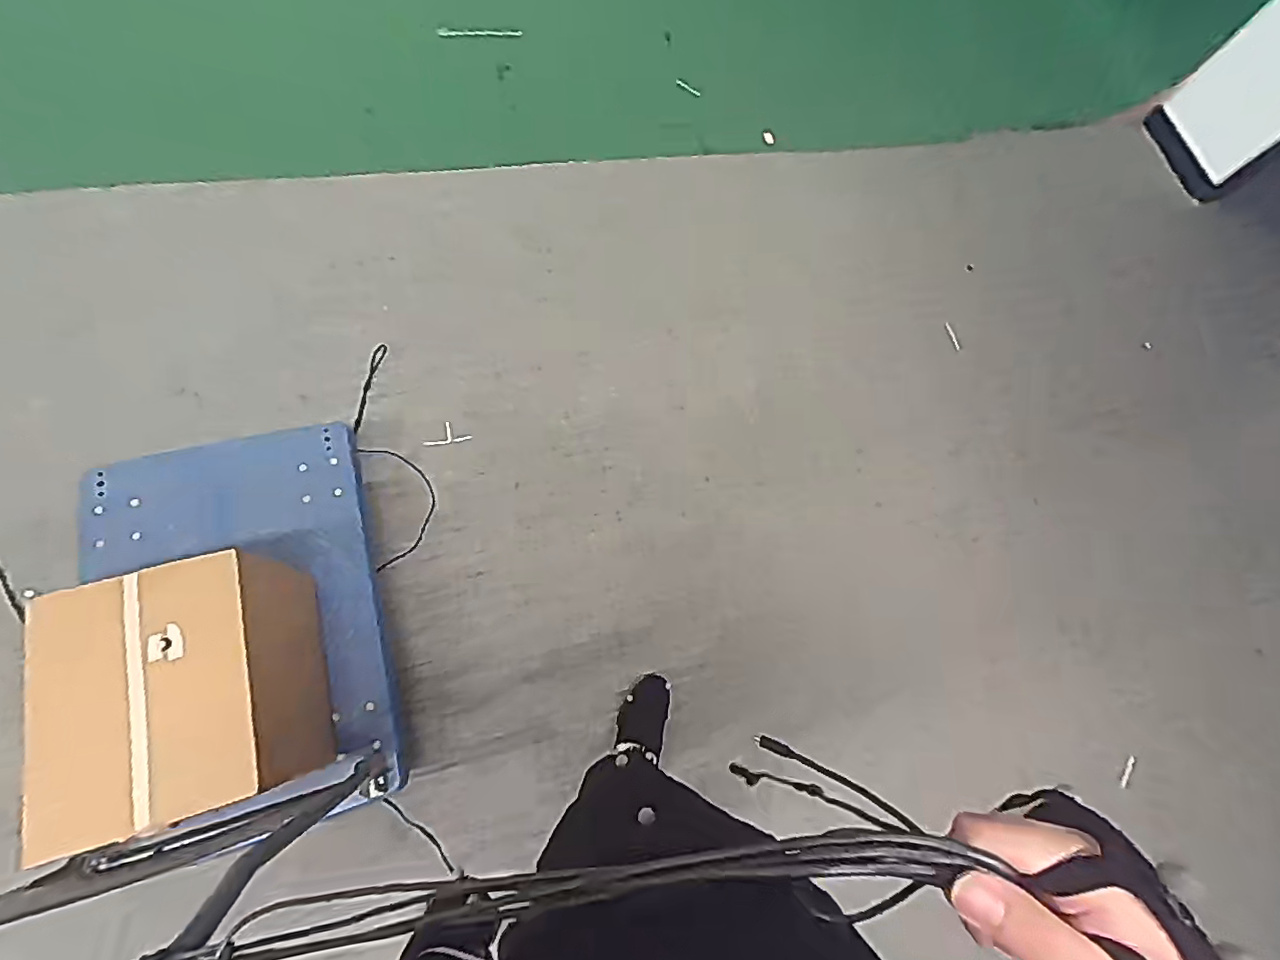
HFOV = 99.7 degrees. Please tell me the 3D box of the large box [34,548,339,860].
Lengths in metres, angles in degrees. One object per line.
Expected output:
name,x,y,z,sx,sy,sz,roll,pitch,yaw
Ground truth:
large box,-0.805,0.384,1.003,0.320,0.320,0.408,-14,73,-12
